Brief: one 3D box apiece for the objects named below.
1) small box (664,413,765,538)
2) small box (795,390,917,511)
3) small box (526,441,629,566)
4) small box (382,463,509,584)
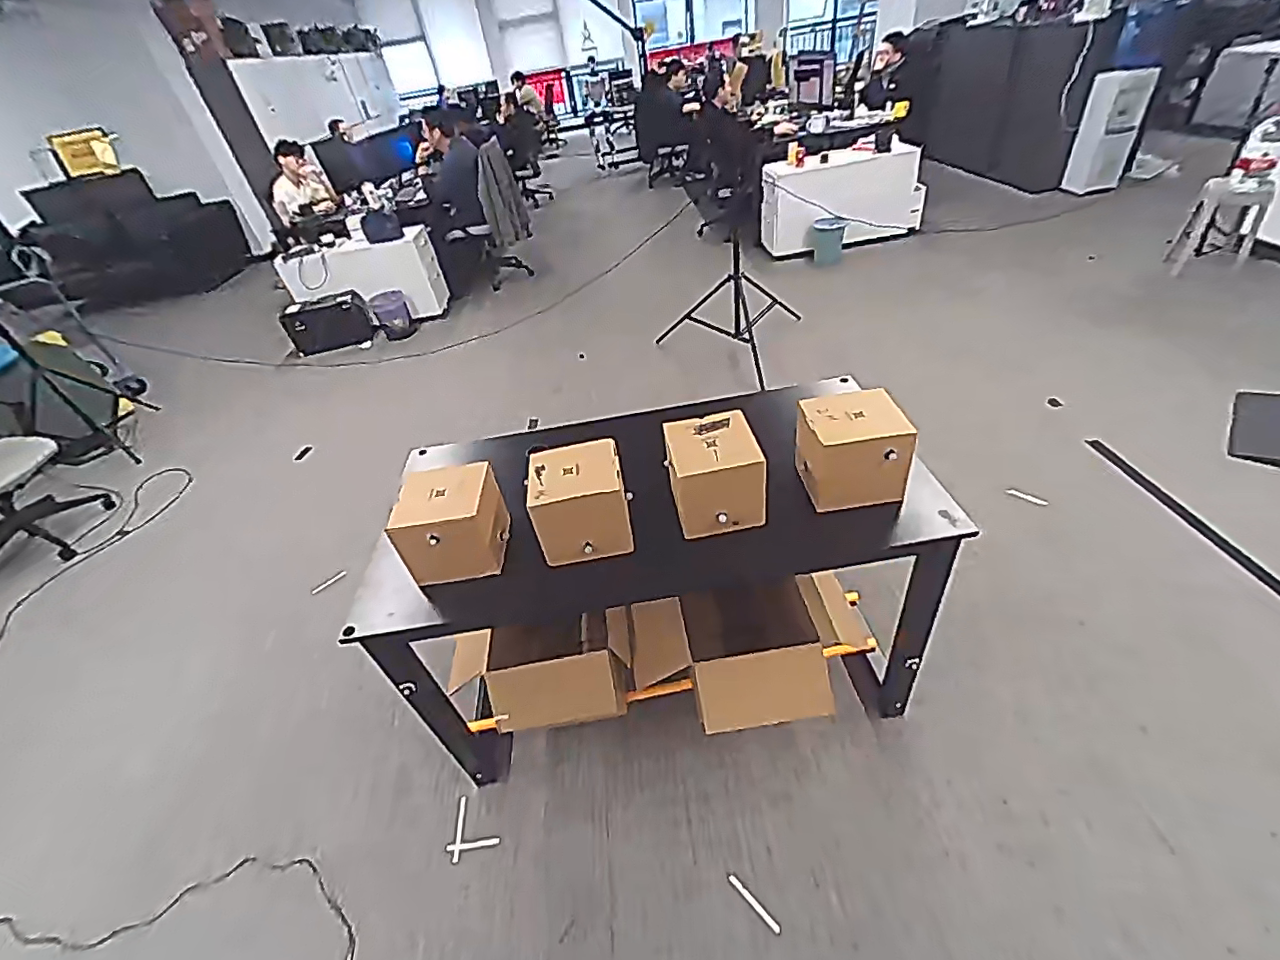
[{"bbox_3d":[0.147,-0.009,1.094,0.168,0.176,0.179,-11,40,-1],"label":"small box"},{"bbox_3d":[0.422,-0.059,1.090,0.179,0.176,0.168,-9,38,3],"label":"small box"},{"bbox_3d":[-0.119,0.048,1.083,0.179,0.176,0.168,-10,39,-1],"label":"small box"},{"bbox_3d":[-0.379,0.091,1.088,0.179,0.176,0.168,-9,40,0],"label":"small box"}]
